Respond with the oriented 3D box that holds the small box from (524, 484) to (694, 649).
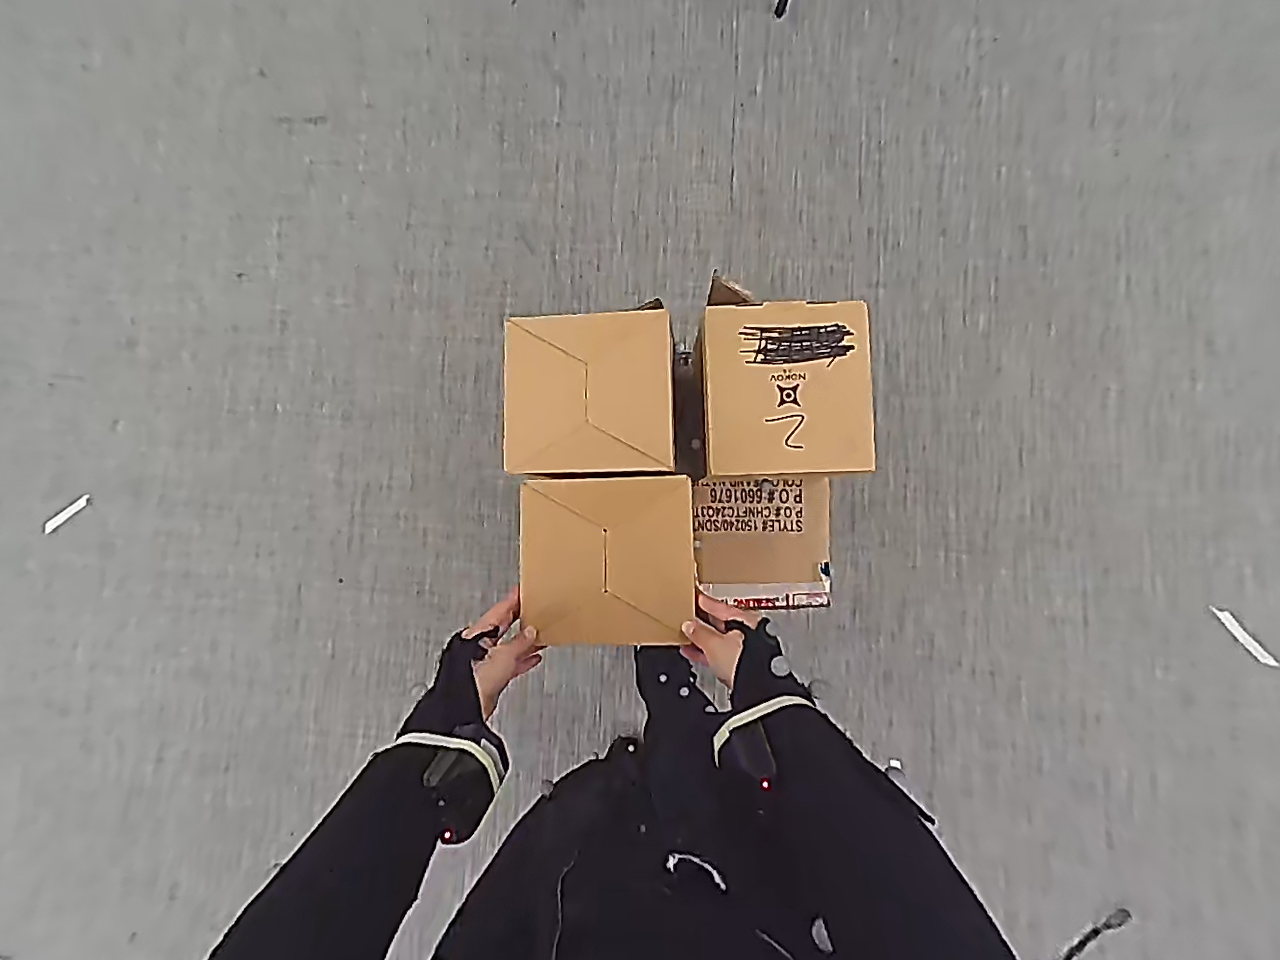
[{"bbox_3d":[-0.031,0.096,0.625,0.179,0.176,0.168,-1,83,4],"label":"small box"}]
